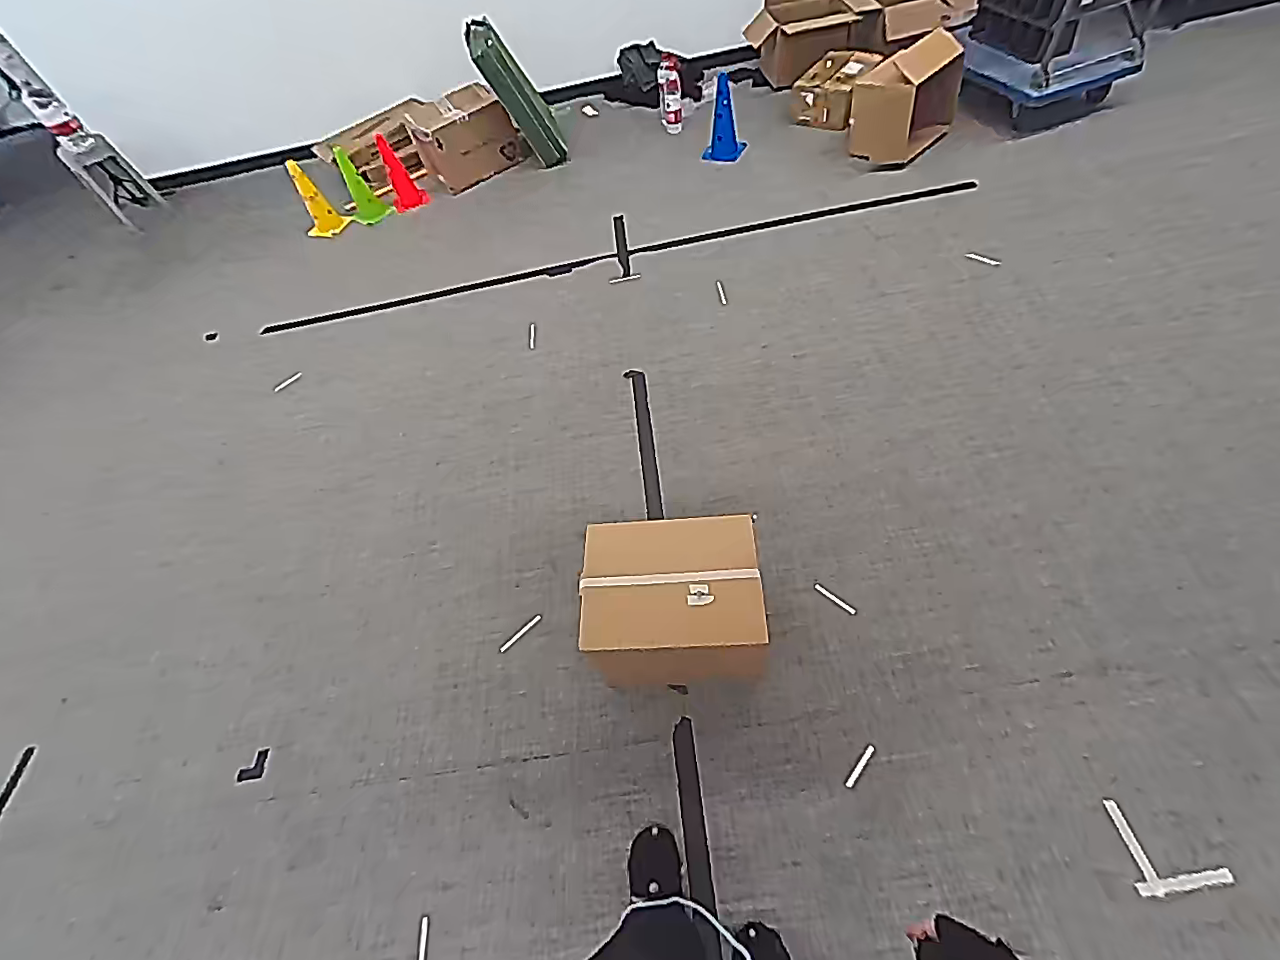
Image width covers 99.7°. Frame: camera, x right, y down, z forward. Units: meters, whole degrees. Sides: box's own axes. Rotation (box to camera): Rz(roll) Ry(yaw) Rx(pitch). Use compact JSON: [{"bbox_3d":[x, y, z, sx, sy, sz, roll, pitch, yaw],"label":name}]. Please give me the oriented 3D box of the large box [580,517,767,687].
[{"bbox_3d":[0.084,0.312,1.340,0.408,0.320,0.320,-4,56,6],"label":"large box"}]
